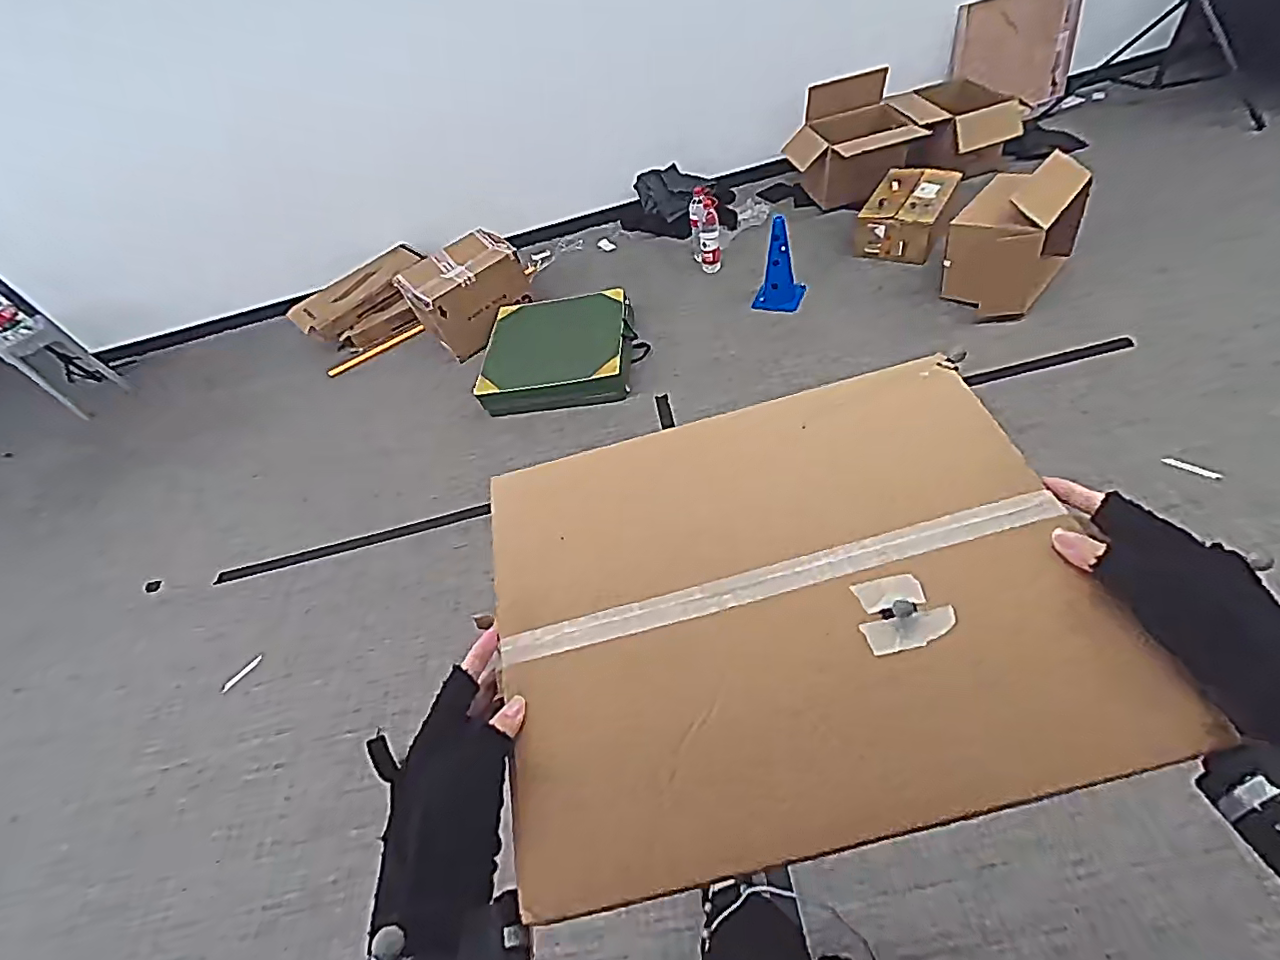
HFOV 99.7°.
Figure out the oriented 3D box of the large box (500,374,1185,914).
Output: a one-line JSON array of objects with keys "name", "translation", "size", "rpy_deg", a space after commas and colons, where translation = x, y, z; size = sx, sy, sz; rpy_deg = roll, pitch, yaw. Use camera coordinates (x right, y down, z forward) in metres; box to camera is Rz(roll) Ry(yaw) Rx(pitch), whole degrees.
[{"name": "large box", "translation": [0.119, 0.160, 0.521], "size": [0.408, 0.320, 0.320], "rpy_deg": [-15, 56, 0]}]
